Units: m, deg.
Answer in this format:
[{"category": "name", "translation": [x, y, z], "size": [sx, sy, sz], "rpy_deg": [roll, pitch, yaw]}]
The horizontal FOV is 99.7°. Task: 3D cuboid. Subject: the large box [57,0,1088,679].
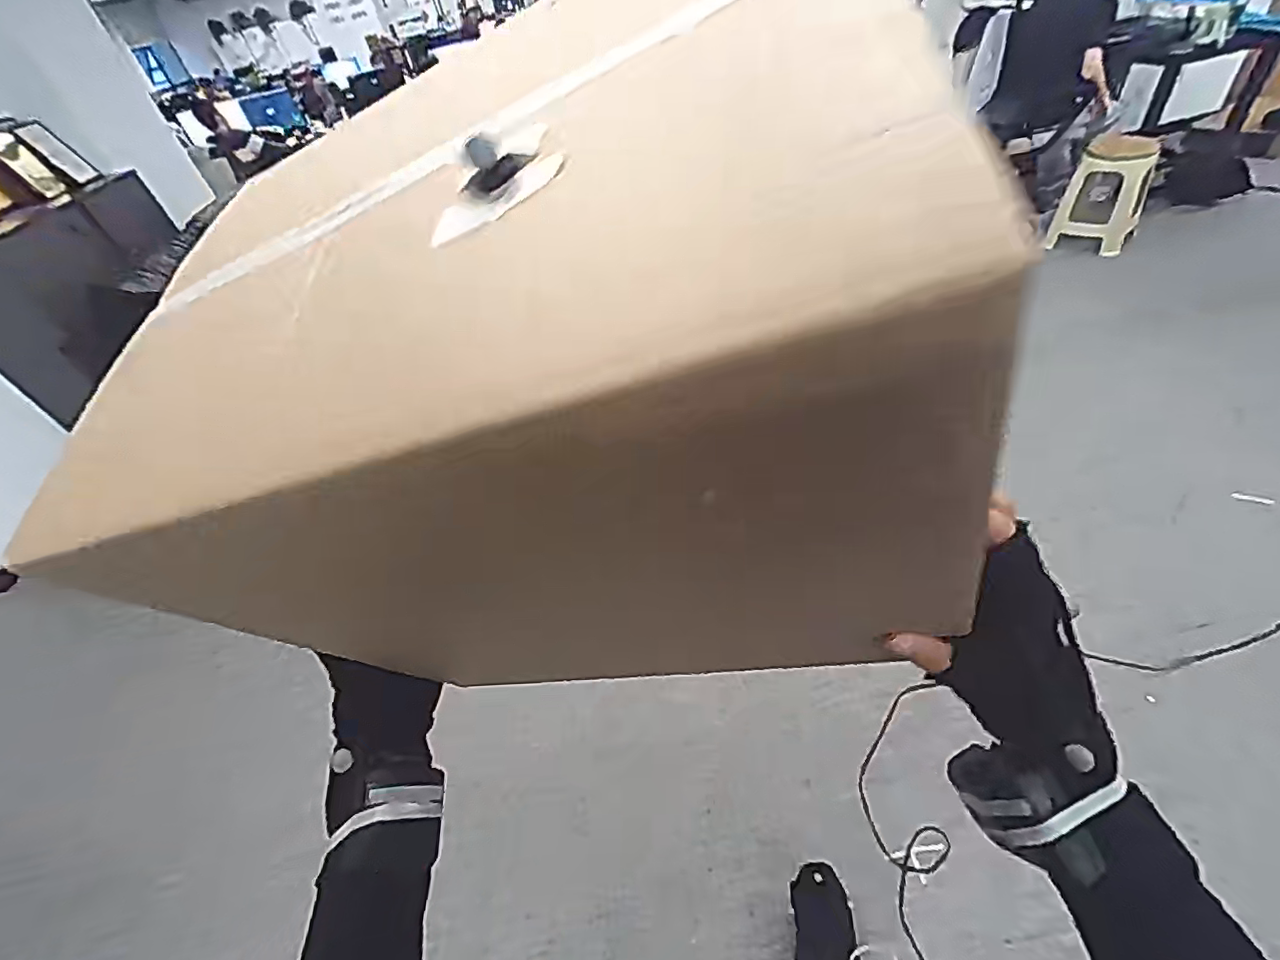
[{"category": "large box", "translation": [-0.025, -0.064, 0.375], "size": [0.408, 0.320, 0.320], "rpy_deg": [-12, 57, 20]}]
